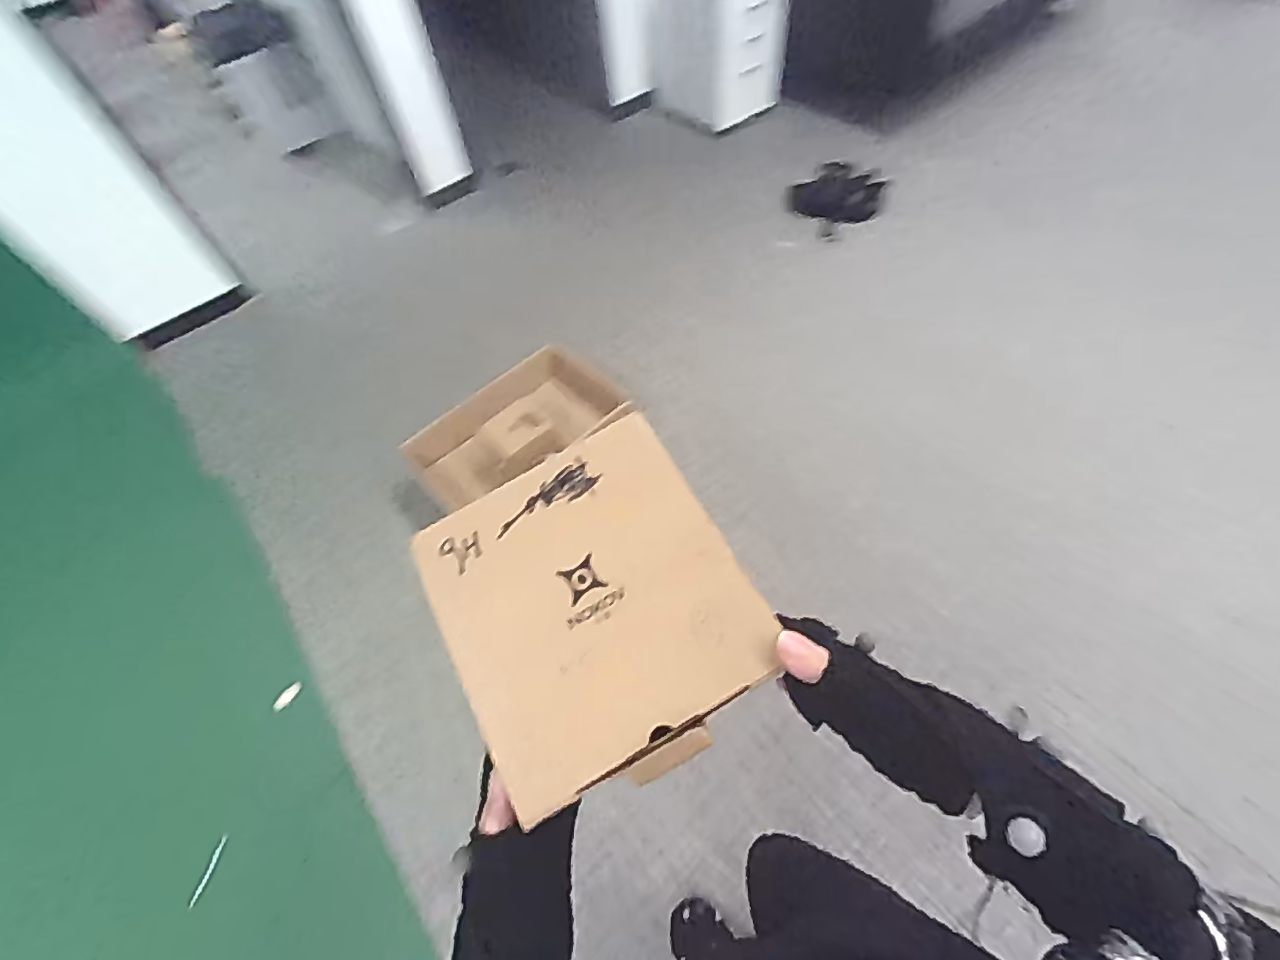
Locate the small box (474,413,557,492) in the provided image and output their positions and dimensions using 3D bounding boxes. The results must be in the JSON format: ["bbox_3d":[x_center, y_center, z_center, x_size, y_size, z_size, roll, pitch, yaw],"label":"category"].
[{"bbox_3d":[-0.376,-0.069,1.677,0.179,0.176,0.168,-39,59,-19],"label":"small box"}]

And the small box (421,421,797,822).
[{"bbox_3d":[-0.016,0.095,0.384,0.168,0.176,0.179,-29,68,-5],"label":"small box"}]
